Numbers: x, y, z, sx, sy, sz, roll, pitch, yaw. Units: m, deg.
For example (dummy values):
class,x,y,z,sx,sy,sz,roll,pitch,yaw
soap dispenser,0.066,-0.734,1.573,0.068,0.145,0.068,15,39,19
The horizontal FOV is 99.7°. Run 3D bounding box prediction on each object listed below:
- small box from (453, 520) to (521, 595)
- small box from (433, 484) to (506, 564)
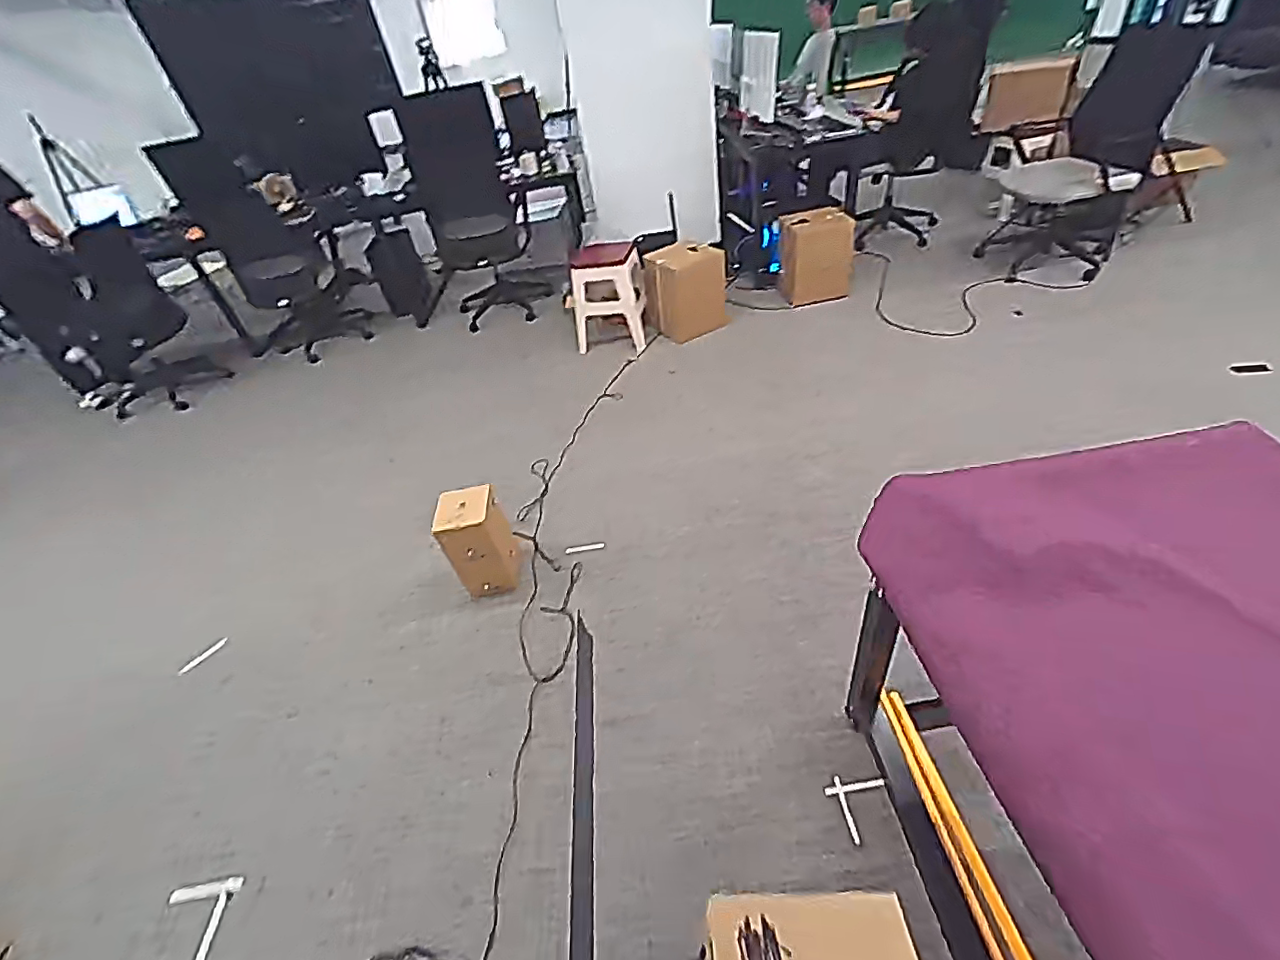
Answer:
class,x,y,z,sx,sy,sz,roll,pitch,yaw
small box,-0.511,0.263,1.835,0.168,0.176,0.179,-10,42,2
small box,-0.535,0.141,1.727,0.168,0.176,0.179,-11,41,1
